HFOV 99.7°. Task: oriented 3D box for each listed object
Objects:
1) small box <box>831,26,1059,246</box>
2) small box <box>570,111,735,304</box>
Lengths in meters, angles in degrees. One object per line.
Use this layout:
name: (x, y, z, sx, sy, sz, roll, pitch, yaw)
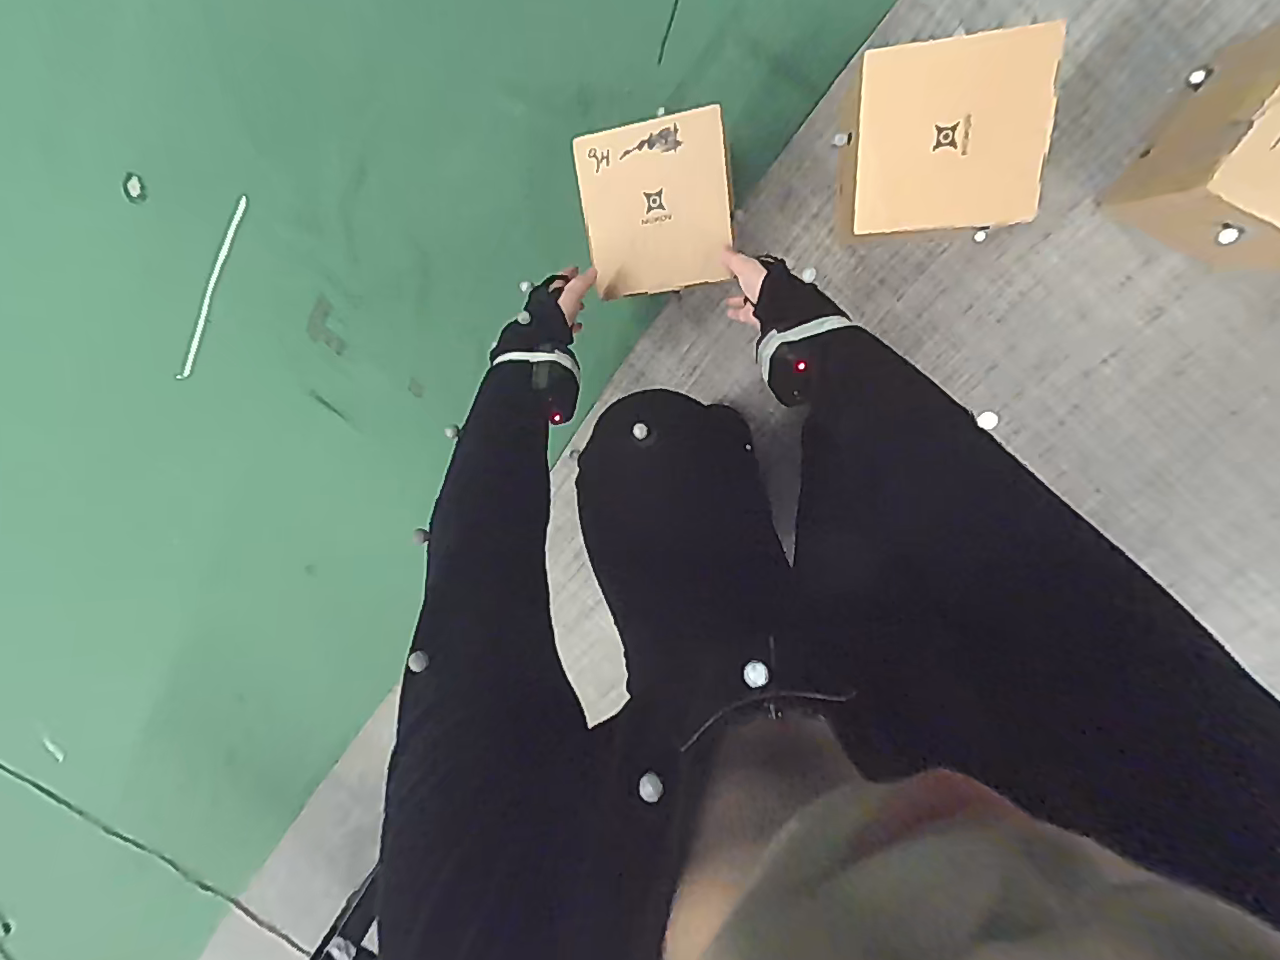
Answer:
small box: (0.316, -0.362, 0.606, 0.179, 0.176, 0.168, 0, 110, 12)
small box: (0.028, -0.327, 0.678, 0.168, 0.176, 0.179, -4, 110, 13)
